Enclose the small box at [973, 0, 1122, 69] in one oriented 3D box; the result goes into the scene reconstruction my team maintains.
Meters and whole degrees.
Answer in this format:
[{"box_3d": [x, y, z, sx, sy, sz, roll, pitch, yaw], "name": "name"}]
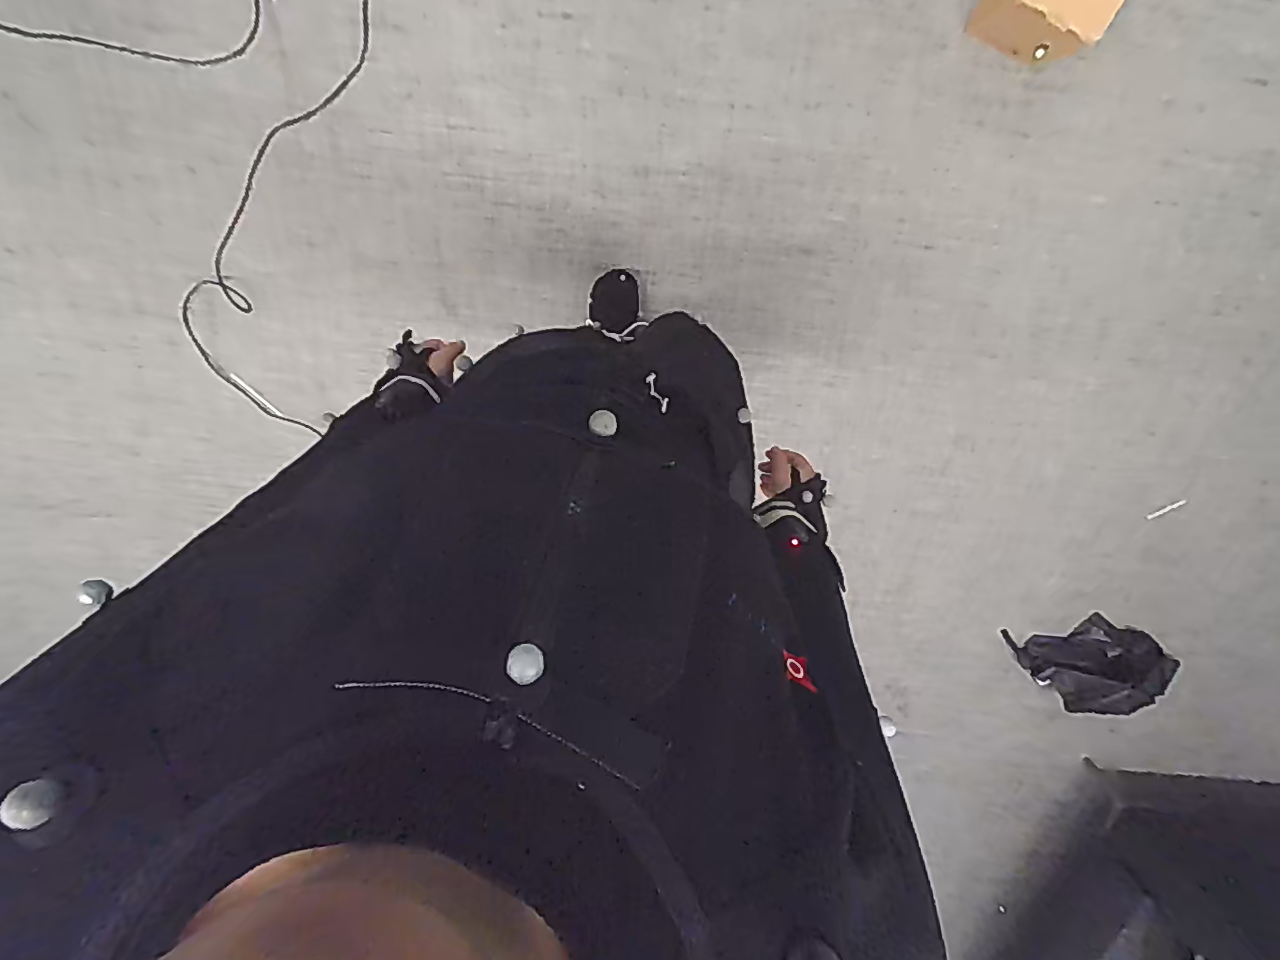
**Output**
[{"box_3d": [0.727, -0.866, 0.944, 0.168, 0.176, 0.179, 20, 113, -10], "name": "small box"}]
